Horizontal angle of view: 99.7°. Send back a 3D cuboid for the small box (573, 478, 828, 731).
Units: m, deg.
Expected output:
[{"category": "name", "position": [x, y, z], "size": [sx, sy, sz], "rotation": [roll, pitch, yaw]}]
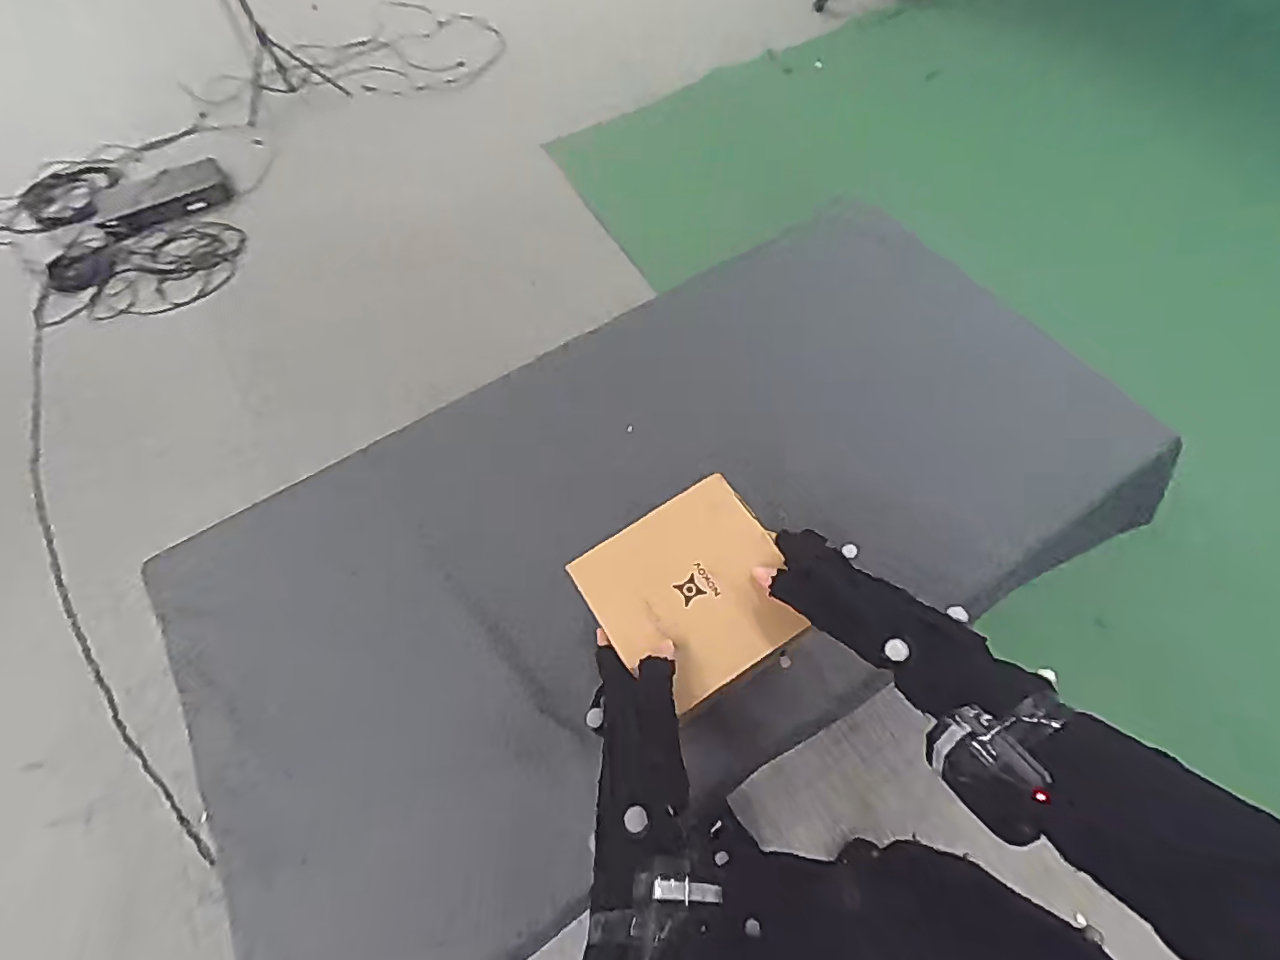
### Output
[{"category": "small box", "position": [0.058, 0.133, 0.557], "size": [0.179, 0.176, 0.168], "rotation": [-32, 65, -8]}]
